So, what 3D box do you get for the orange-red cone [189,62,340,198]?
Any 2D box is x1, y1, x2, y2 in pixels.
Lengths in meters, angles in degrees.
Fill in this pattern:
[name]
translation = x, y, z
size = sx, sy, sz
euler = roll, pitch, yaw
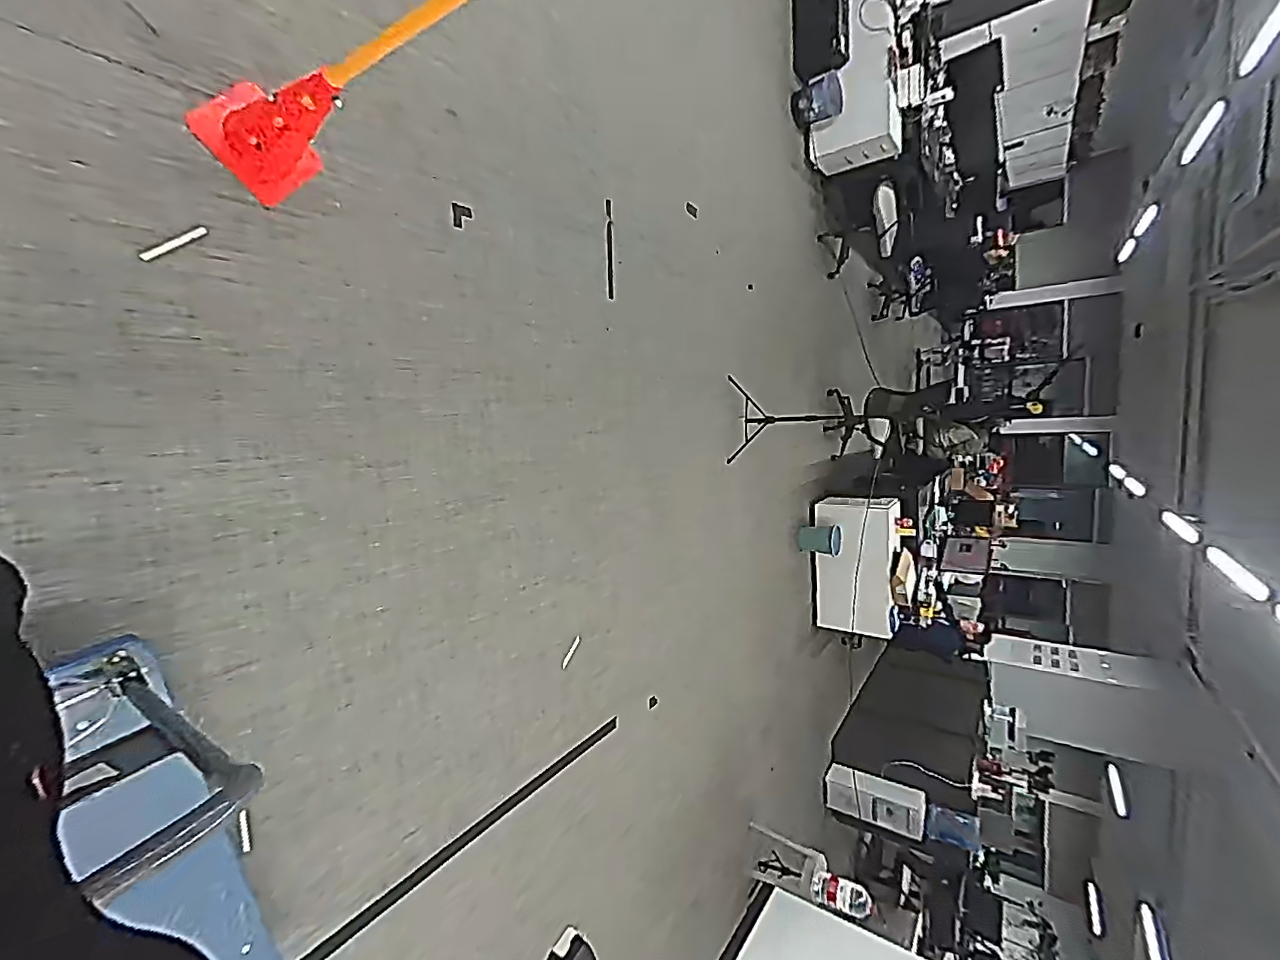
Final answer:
[orange-red cone]
translation = -0.712, -0.755, 1.104
size = 0.198, 0.360, 0.199
euler = 54, 51, -39
